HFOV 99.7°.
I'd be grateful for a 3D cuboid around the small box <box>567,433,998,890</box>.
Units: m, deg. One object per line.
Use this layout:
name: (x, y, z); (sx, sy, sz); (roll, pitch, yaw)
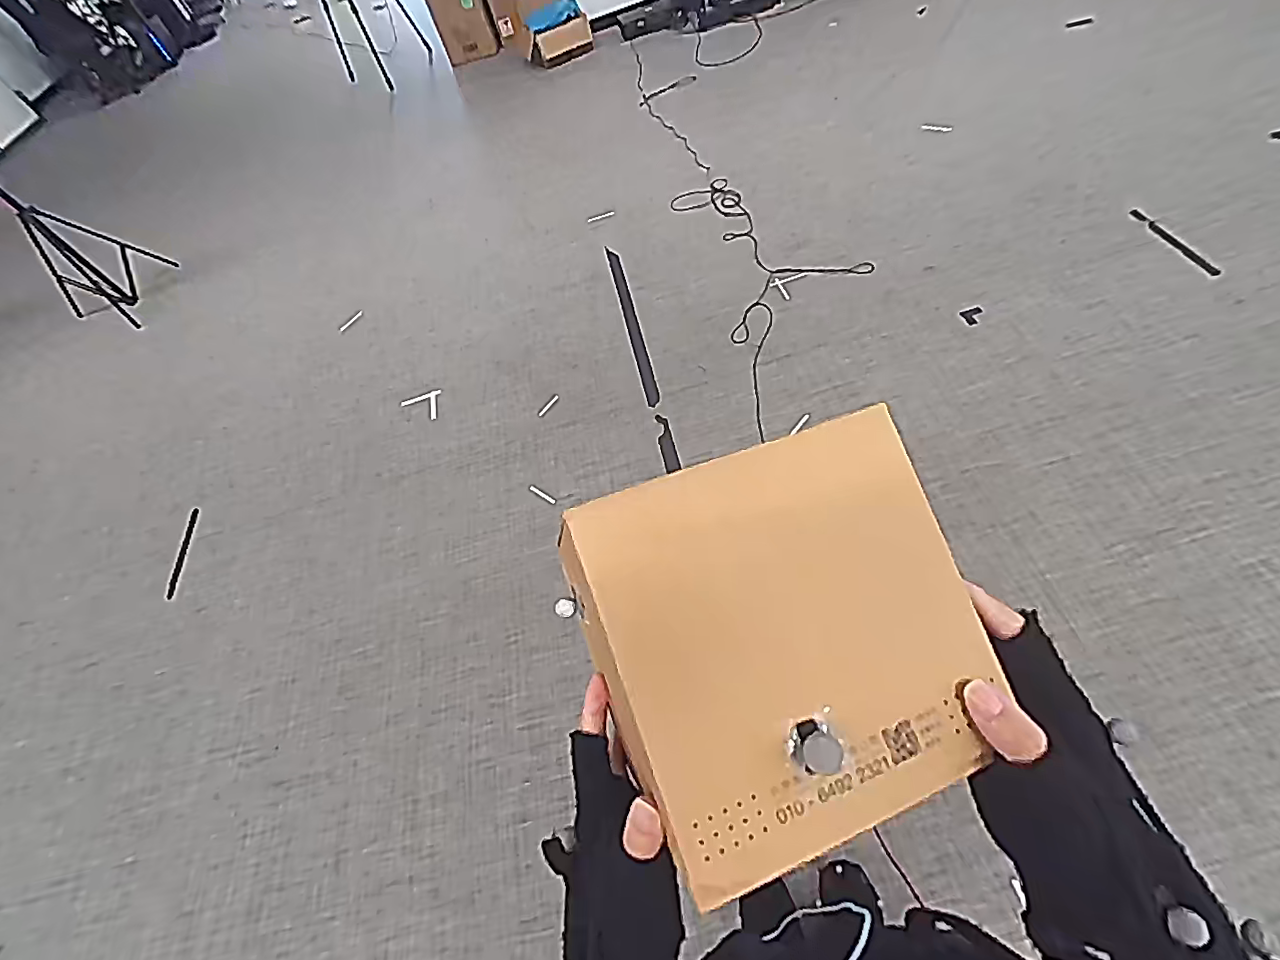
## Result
small box: (0.059, 0.094, 0.329); (0.168, 0.179, 0.176); (-19, 82, -12)
